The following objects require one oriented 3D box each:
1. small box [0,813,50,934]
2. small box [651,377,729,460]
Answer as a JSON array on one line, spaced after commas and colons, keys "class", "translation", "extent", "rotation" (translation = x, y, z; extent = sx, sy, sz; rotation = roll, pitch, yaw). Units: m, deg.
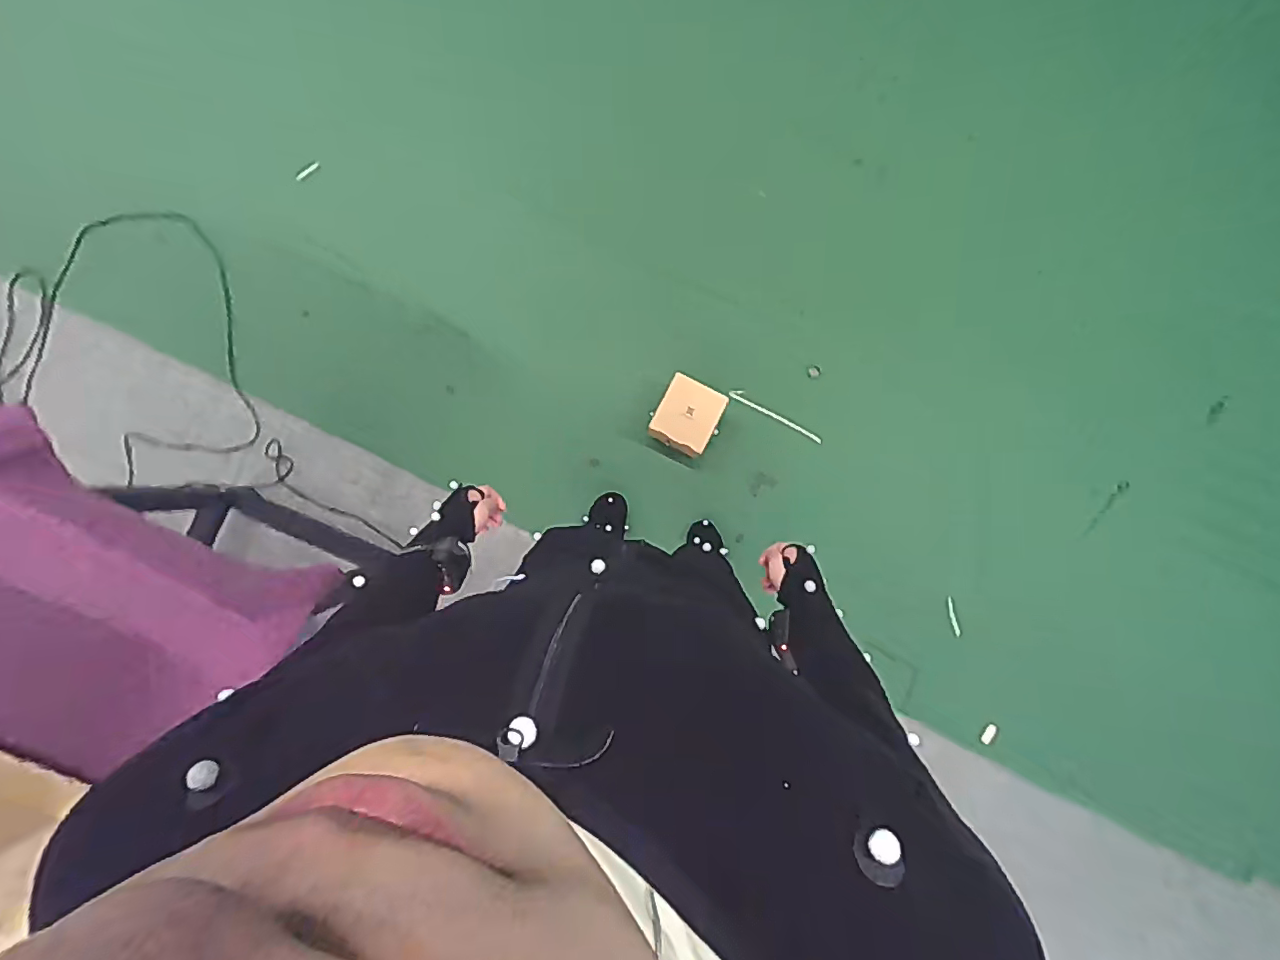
[{"class": "small box", "translation": [-0.900, 0.515, 0.651], "extent": [0.179, 0.176, 0.168], "rotation": [23, 86, 0]}, {"class": "small box", "translation": [0.136, -0.172, 1.569], "extent": [0.168, 0.176, 0.179], "rotation": [27, 89, 0]}]
